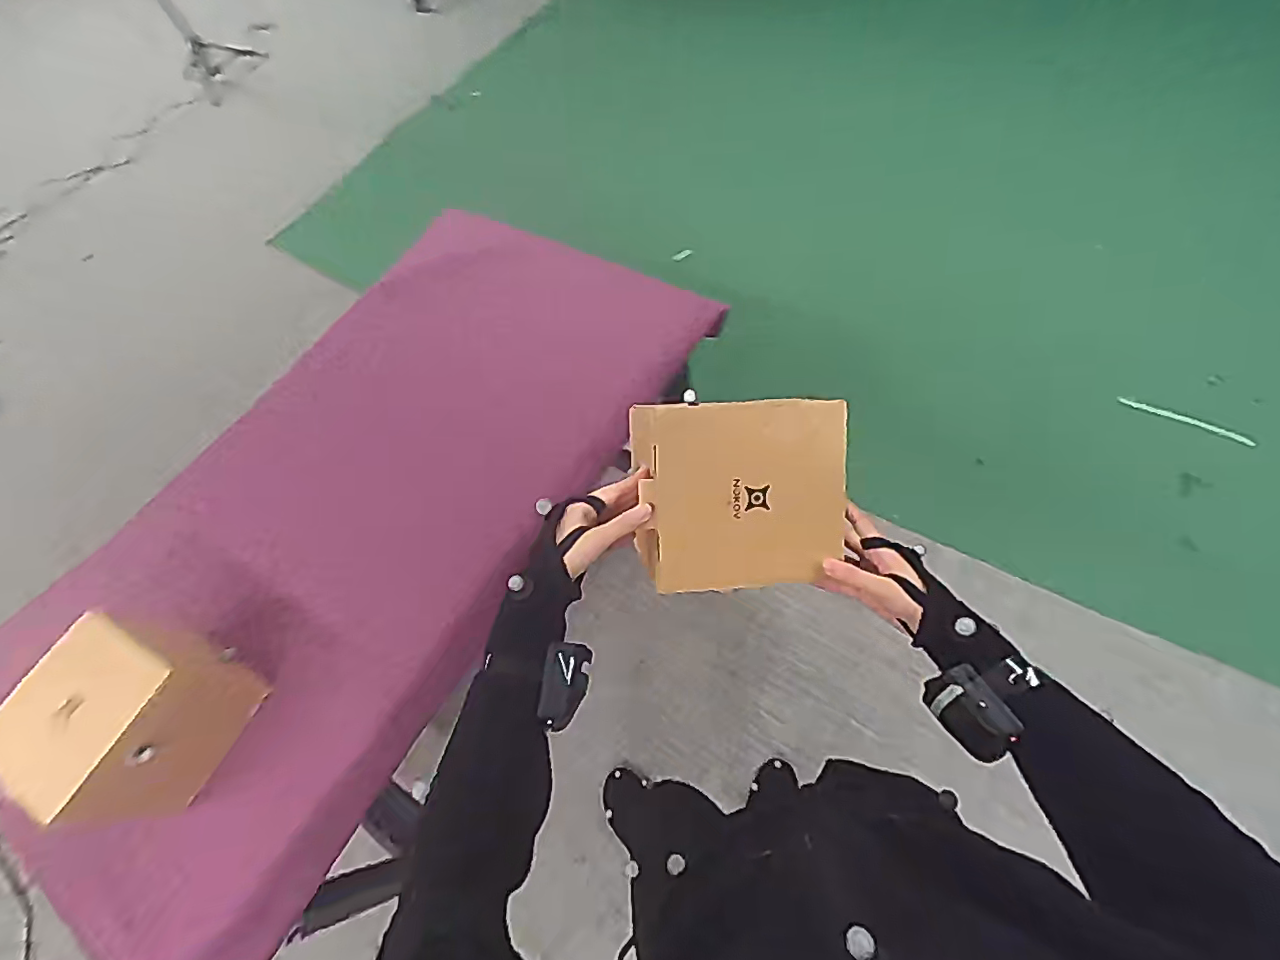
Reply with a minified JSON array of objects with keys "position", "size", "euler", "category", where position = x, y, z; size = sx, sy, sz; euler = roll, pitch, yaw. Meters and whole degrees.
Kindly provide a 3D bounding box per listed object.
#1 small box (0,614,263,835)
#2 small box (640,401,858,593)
[{"position":[-0.629,0.297,0.670],"size":[0.168,0.176,0.179],"euler":[22,68,17],"category":"small box"},{"position":[0.096,0.004,0.551],"size":[0.179,0.176,0.168],"euler":[-2,98,-5],"category":"small box"}]
